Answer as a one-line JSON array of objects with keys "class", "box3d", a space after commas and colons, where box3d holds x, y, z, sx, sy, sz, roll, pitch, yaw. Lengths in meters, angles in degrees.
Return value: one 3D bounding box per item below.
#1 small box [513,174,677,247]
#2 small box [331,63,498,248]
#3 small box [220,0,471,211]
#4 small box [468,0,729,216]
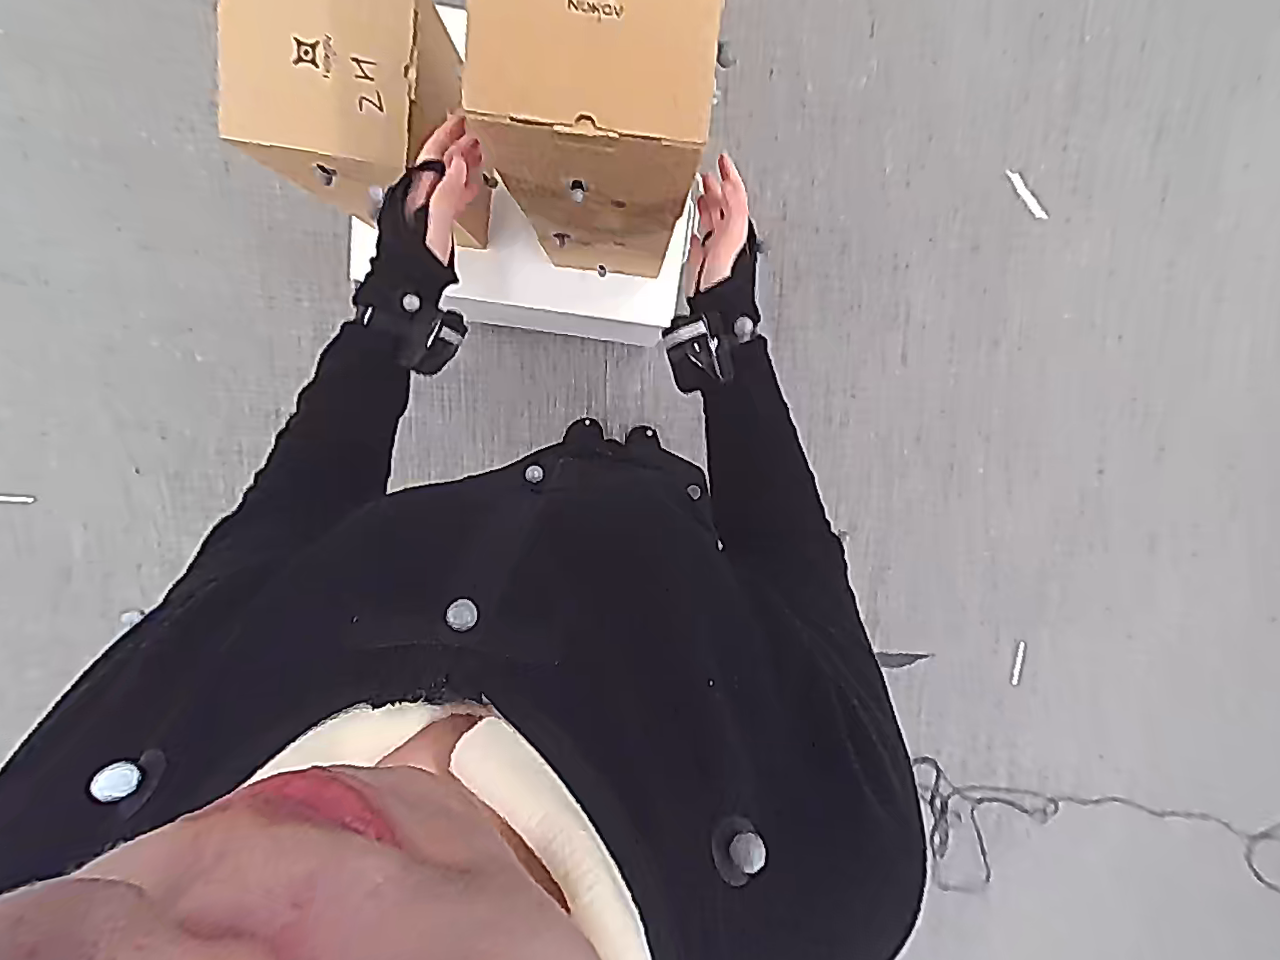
[{"class": "small box", "box3d": [-0.033, -0.366, 0.584, 0.168, 0.176, 0.179, 6, 100, -3]}, {"class": "small box", "box3d": [-0.297, -0.436, 0.730, 0.168, 0.176, 0.179, 9, 100, -3]}, {"class": "small box", "box3d": [-0.293, -0.401, 0.569, 0.179, 0.176, 0.168, 8, 101, -4]}, {"class": "small box", "box3d": [-0.027, -0.333, 0.425, 0.168, 0.176, 0.179, 6, 101, -3]}]
